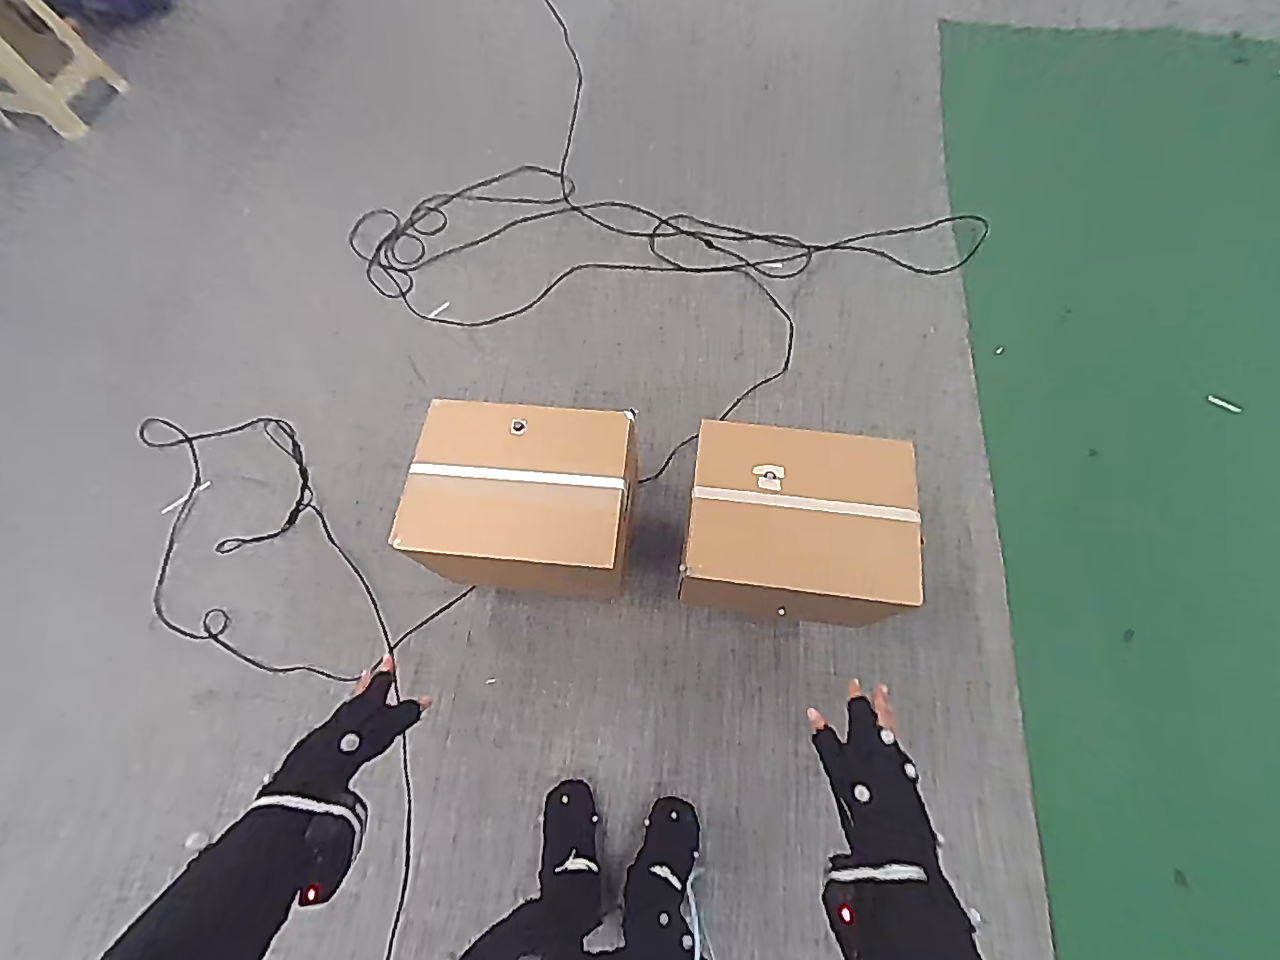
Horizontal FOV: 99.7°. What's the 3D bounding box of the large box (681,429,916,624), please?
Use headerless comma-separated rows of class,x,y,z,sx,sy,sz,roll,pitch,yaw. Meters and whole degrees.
large box,0.305,0.112,1.134,0.408,0.320,0.320,7,68,5
